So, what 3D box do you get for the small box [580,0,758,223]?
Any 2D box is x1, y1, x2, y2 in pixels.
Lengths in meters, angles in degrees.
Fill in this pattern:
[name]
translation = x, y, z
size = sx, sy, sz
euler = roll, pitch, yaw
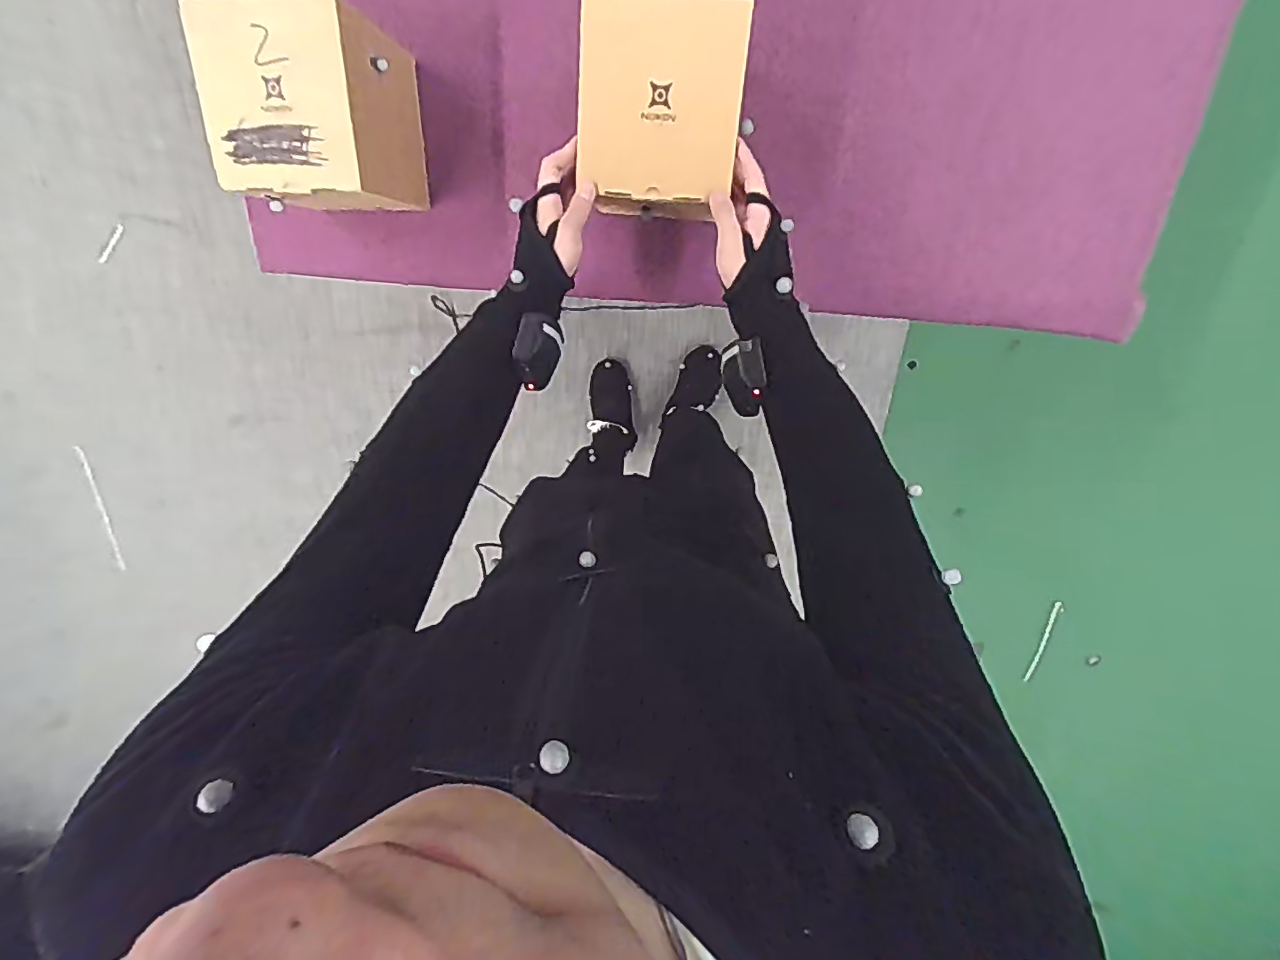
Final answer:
[small box]
translation = 0.028, -0.401, 0.616
size = 0.168, 0.176, 0.179
euler = 5, 112, 2
